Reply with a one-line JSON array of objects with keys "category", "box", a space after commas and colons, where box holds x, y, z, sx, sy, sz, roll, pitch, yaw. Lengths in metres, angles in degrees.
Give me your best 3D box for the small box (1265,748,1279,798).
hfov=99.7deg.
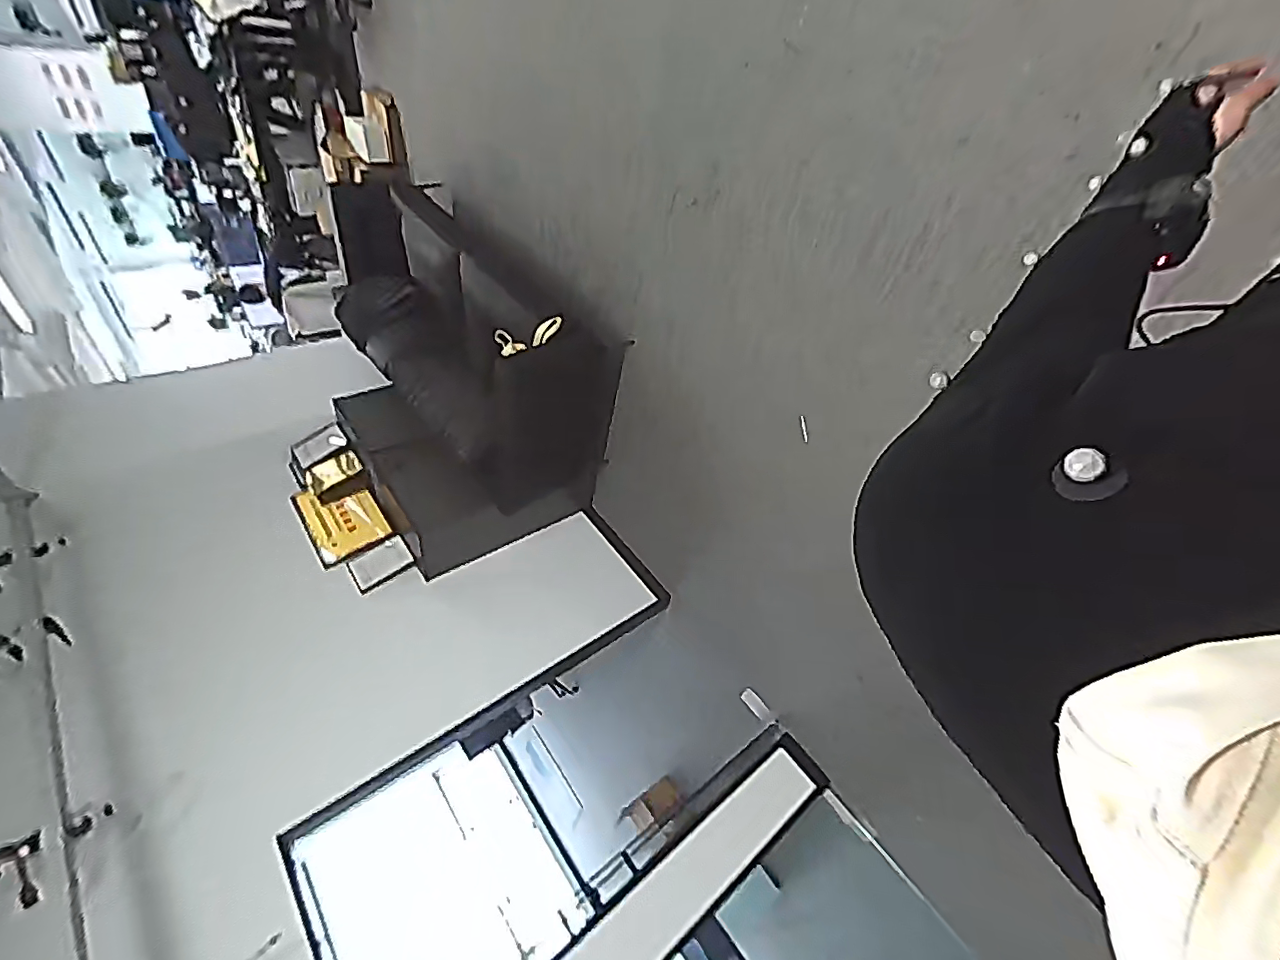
[{"category": "small box", "box": [1.475, 0.626, 1.111, 0.168, 0.176, 0.179, 46, 141, 29]}]
